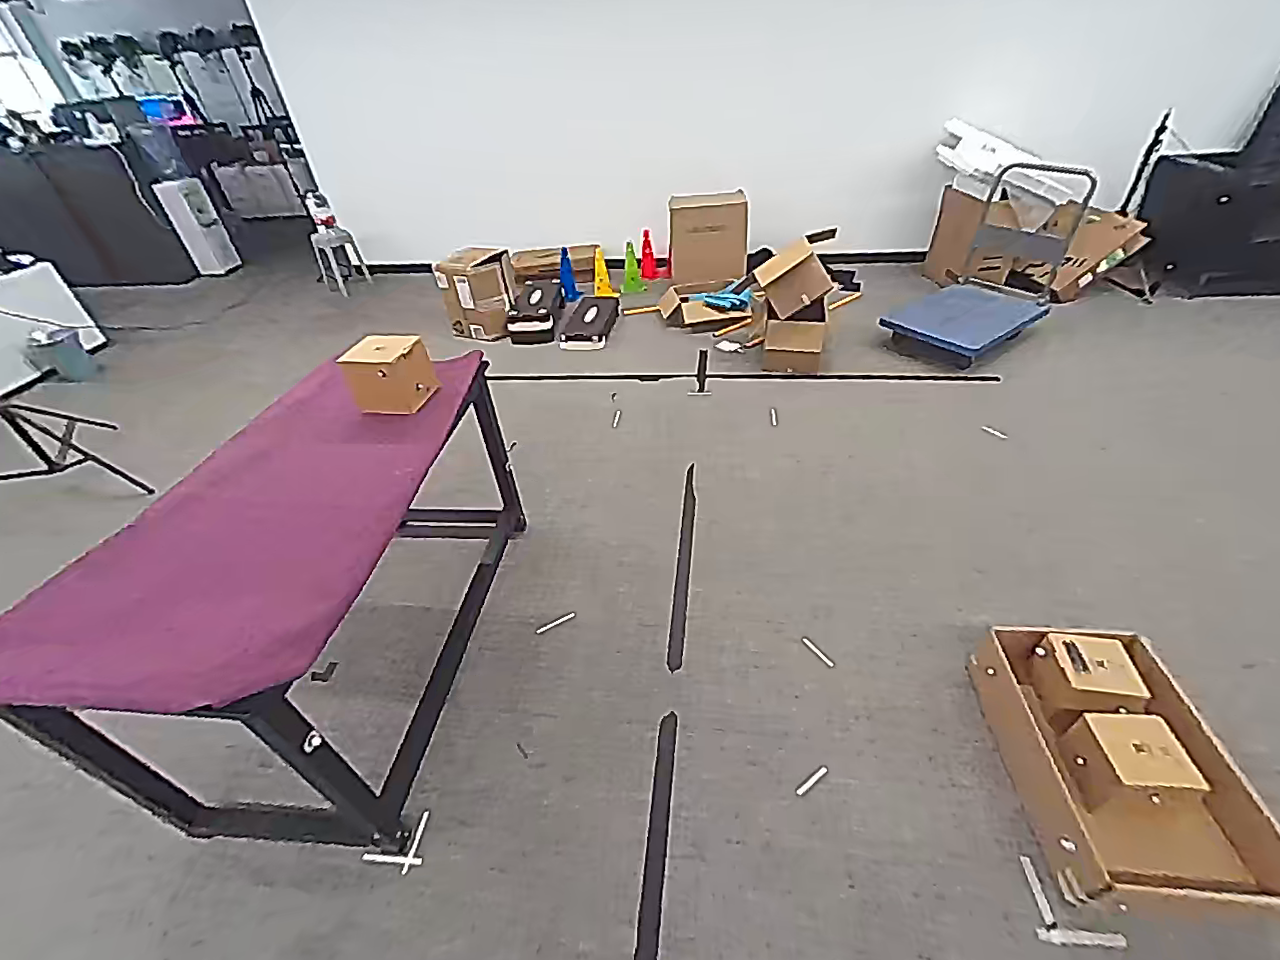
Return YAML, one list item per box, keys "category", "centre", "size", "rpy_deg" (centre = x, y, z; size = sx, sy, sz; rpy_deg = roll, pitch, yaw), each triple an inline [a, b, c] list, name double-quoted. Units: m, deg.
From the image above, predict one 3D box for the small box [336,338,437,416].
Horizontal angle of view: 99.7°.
- category: "small box"
  centre: [-0.724, -0.298, 1.563]
  size: [0.179, 0.176, 0.168]
  rpy_deg: [3, 40, 11]

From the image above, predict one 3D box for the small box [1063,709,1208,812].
- category: "small box"
  centre: [1.153, 0.666, 1.283]
  size: [0.179, 0.176, 0.168]
  rpy_deg: [0, 39, 6]
